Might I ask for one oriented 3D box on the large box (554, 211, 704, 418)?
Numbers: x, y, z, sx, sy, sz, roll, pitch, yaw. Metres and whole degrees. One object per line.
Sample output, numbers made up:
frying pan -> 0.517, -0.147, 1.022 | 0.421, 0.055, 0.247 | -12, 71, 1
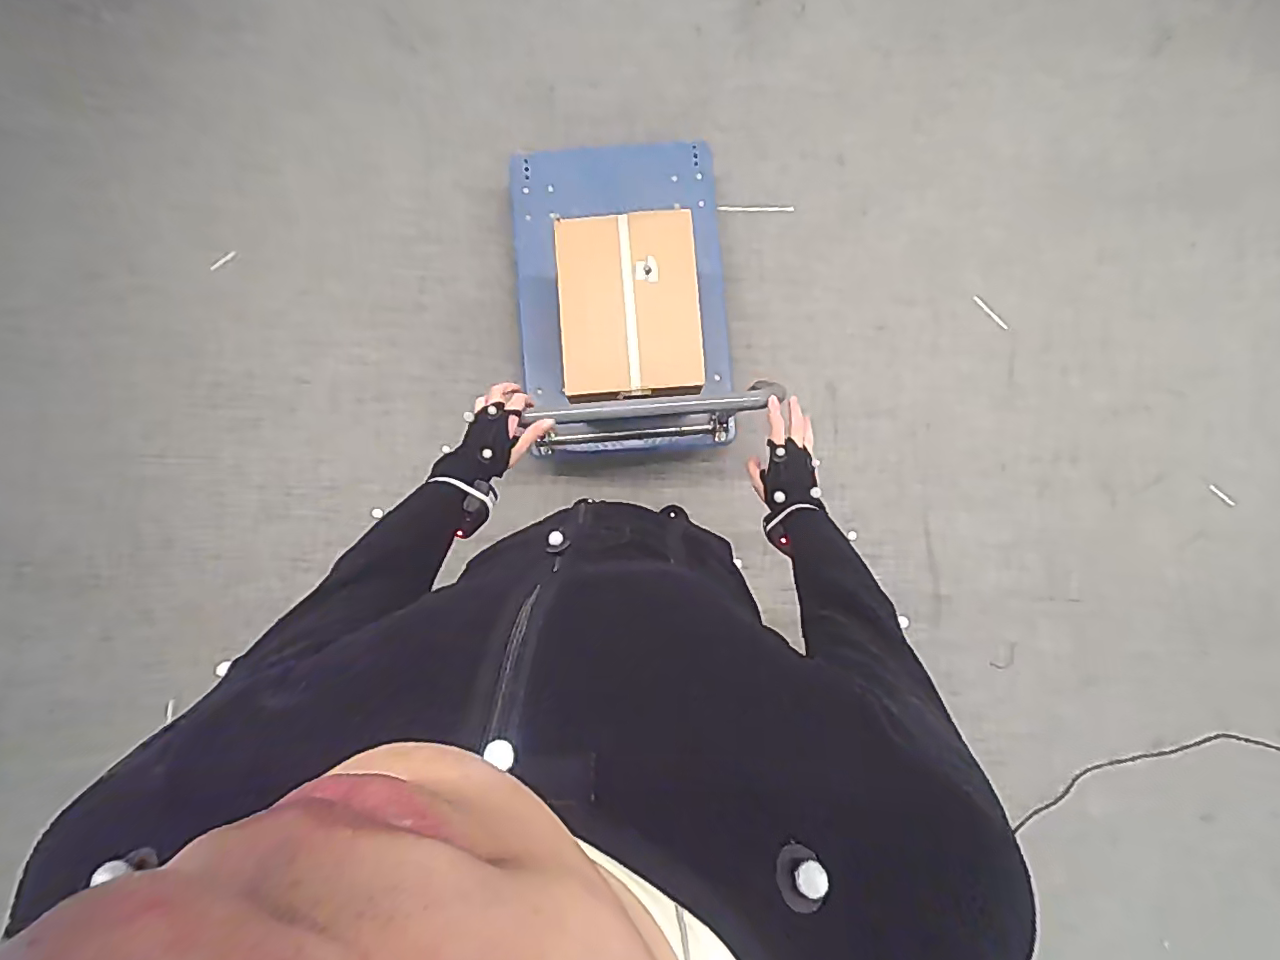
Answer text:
large box -> -0.024, -0.389, 1.360 | 0.320, 0.320, 0.408 | -4, 86, 0
